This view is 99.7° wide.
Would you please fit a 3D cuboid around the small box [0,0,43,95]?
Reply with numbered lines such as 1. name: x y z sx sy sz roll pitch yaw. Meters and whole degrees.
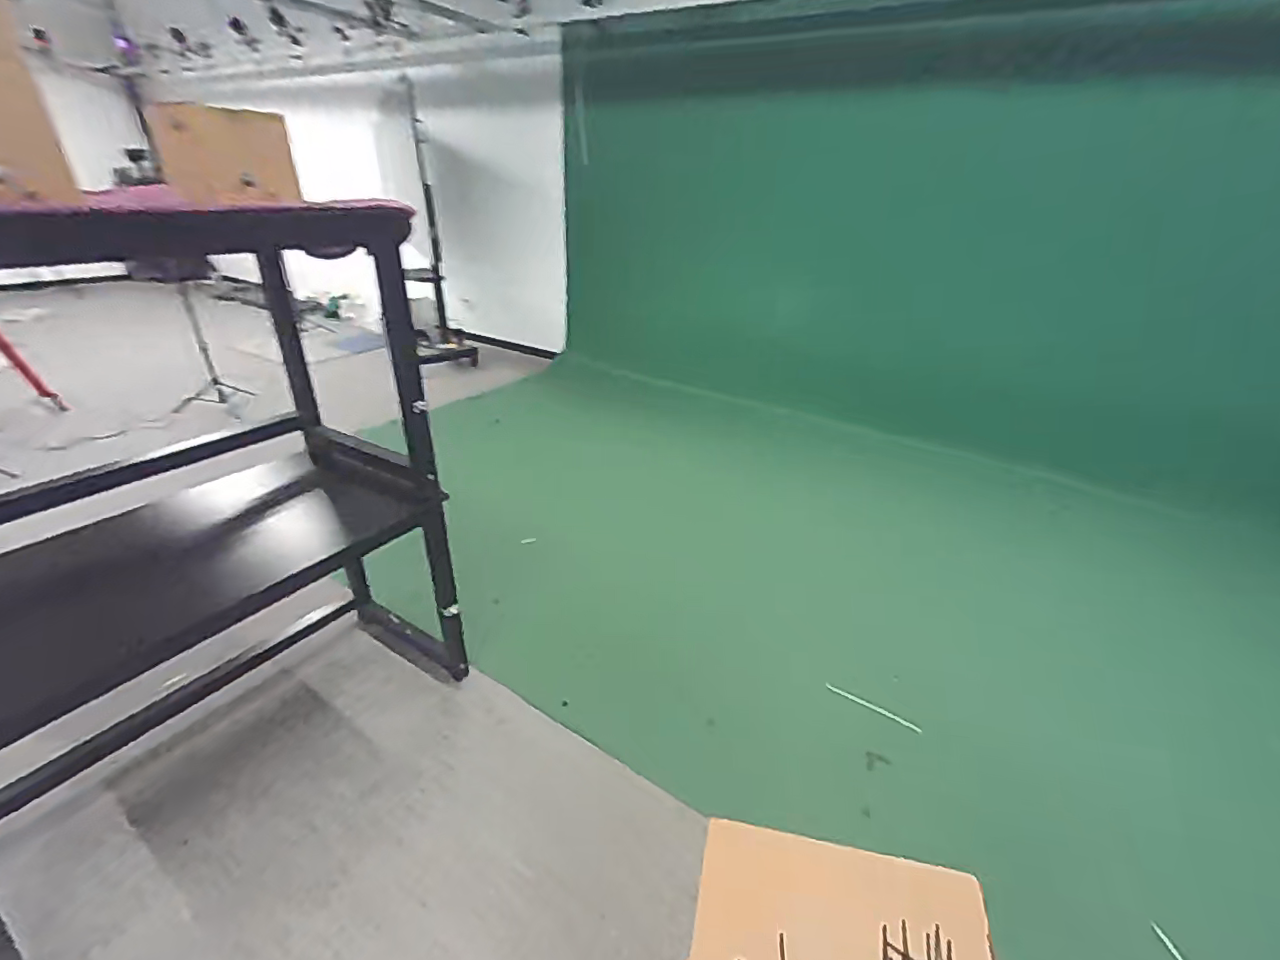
1. small box: -0.958 -0.615 0.714 0.179 0.176 0.168 20 34 27

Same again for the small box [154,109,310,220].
1. small box: -0.778 -0.603 1.044 0.179 0.176 0.168 21 35 28
